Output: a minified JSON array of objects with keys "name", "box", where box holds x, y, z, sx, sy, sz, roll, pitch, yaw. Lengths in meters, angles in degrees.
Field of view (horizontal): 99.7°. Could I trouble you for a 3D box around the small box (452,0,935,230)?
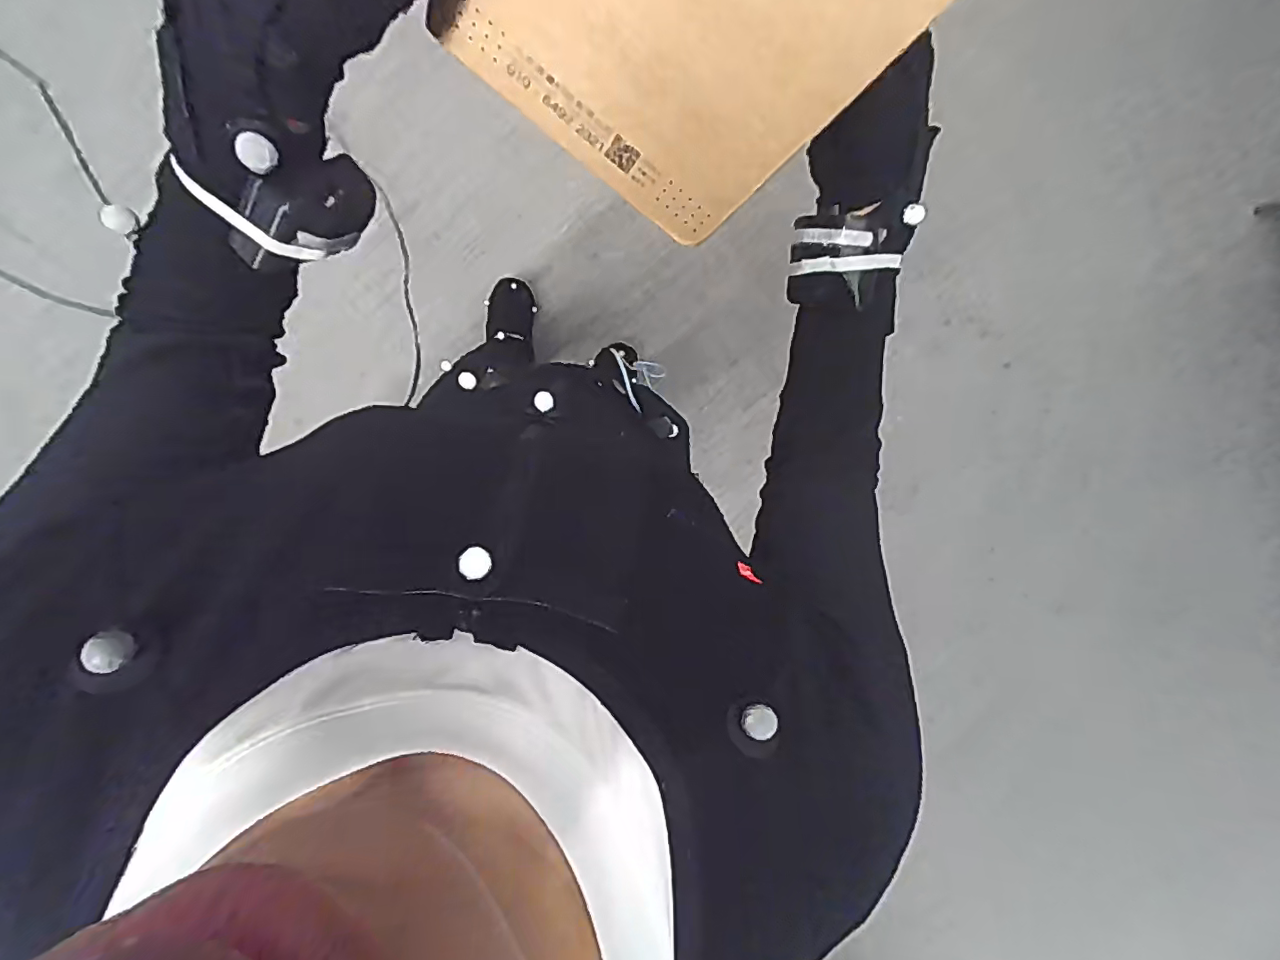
[{"name":"small box","box":[0.035,-0.266,0.251,0.168,0.176,0.179,31,63,-21]}]
